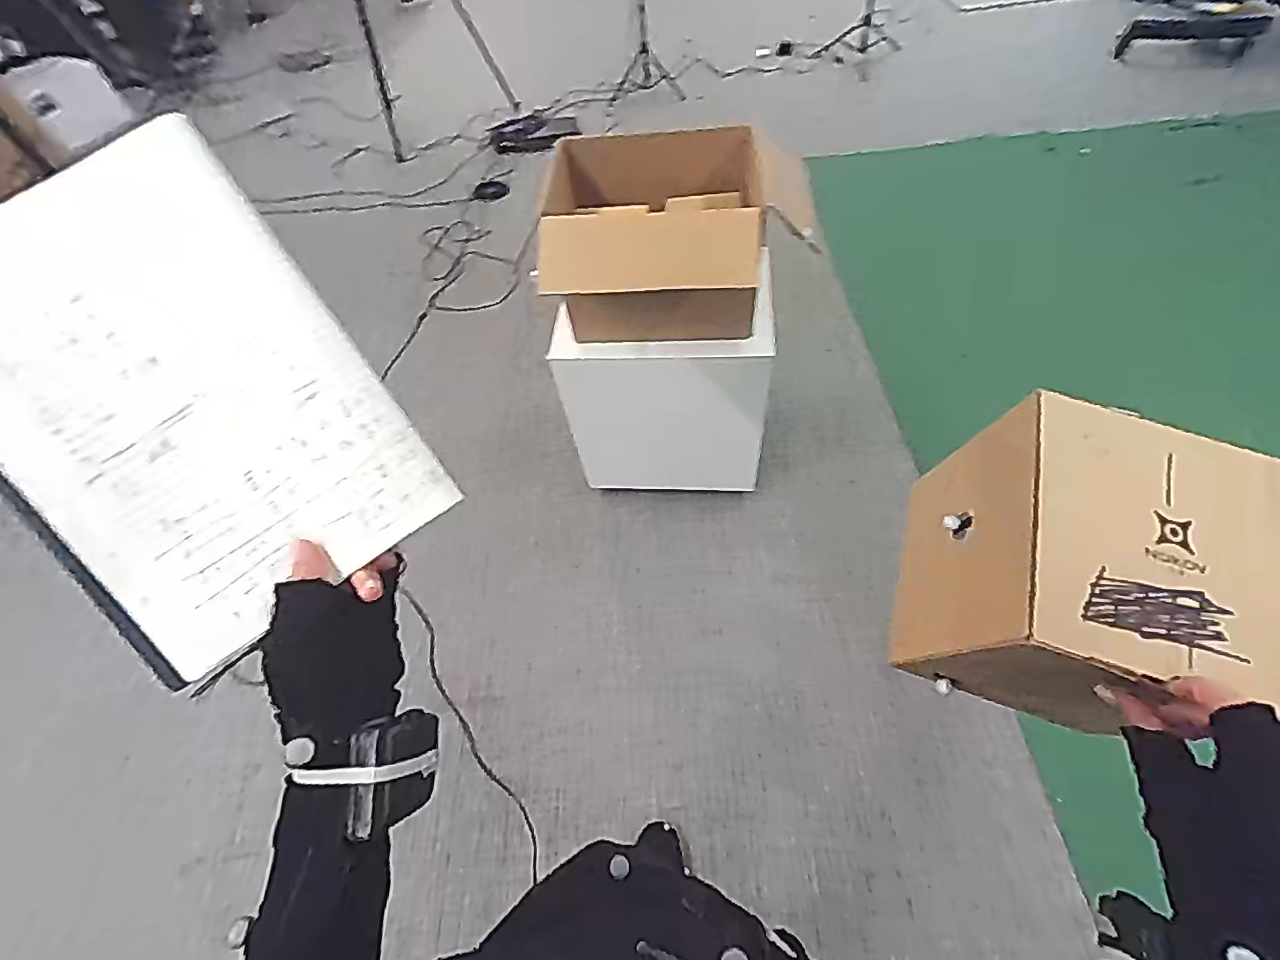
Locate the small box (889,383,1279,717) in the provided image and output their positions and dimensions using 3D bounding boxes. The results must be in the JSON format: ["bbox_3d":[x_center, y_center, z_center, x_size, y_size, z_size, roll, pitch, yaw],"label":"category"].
[{"bbox_3d":[0.309,0.064,0.404,0.168,0.176,0.179,18,65,4],"label":"small box"}]
